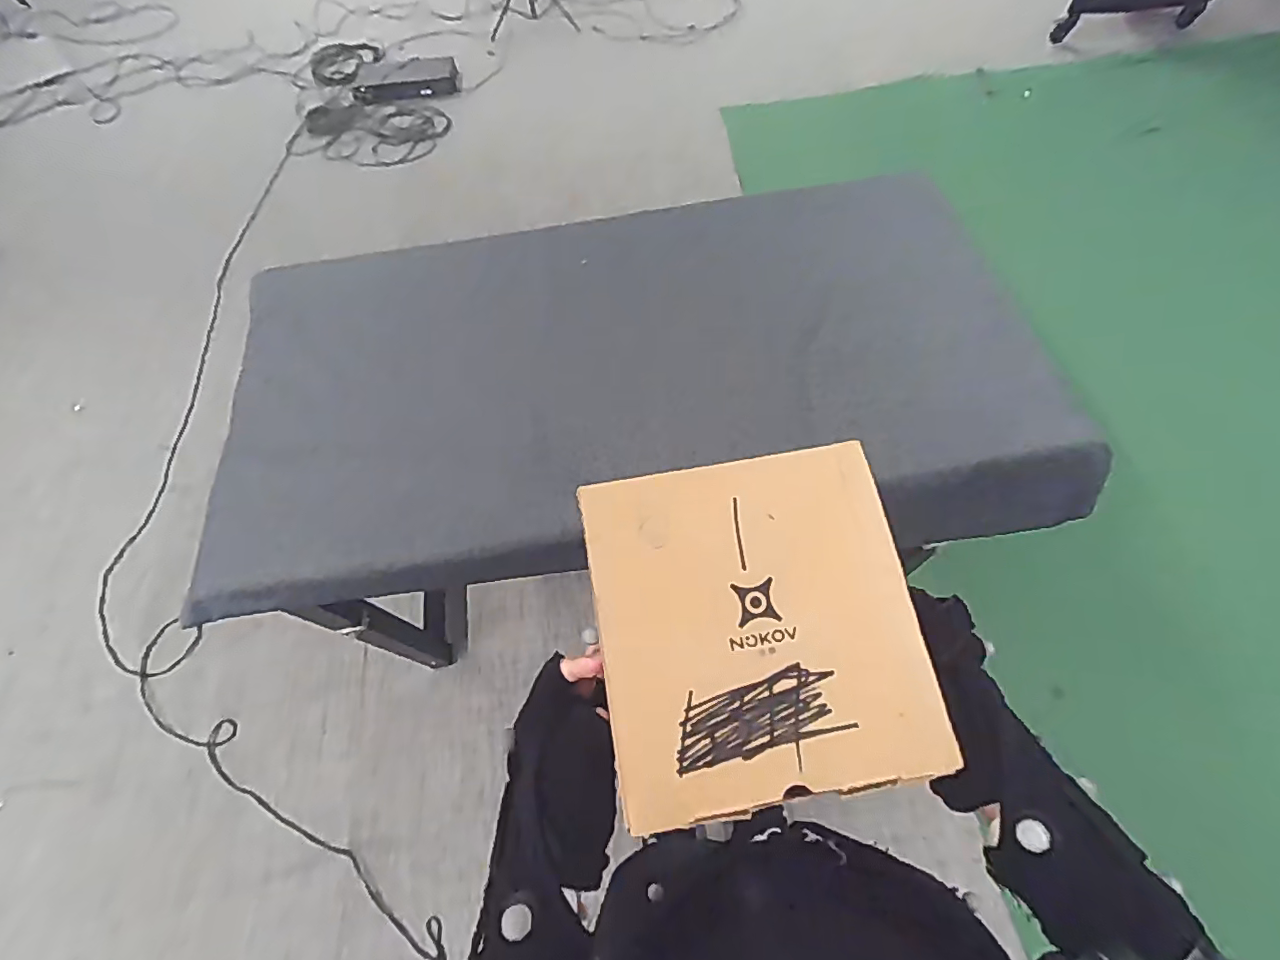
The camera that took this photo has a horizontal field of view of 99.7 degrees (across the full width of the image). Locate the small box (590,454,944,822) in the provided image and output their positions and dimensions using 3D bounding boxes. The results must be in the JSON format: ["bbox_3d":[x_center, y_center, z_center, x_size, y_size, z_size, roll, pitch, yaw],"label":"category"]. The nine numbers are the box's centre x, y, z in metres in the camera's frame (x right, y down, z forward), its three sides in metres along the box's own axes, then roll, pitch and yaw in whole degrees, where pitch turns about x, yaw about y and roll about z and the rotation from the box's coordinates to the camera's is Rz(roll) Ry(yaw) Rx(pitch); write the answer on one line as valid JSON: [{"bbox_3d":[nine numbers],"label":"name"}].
[{"bbox_3d":[0.063,0.099,0.369,0.168,0.176,0.179,-8,73,-3],"label":"small box"}]
